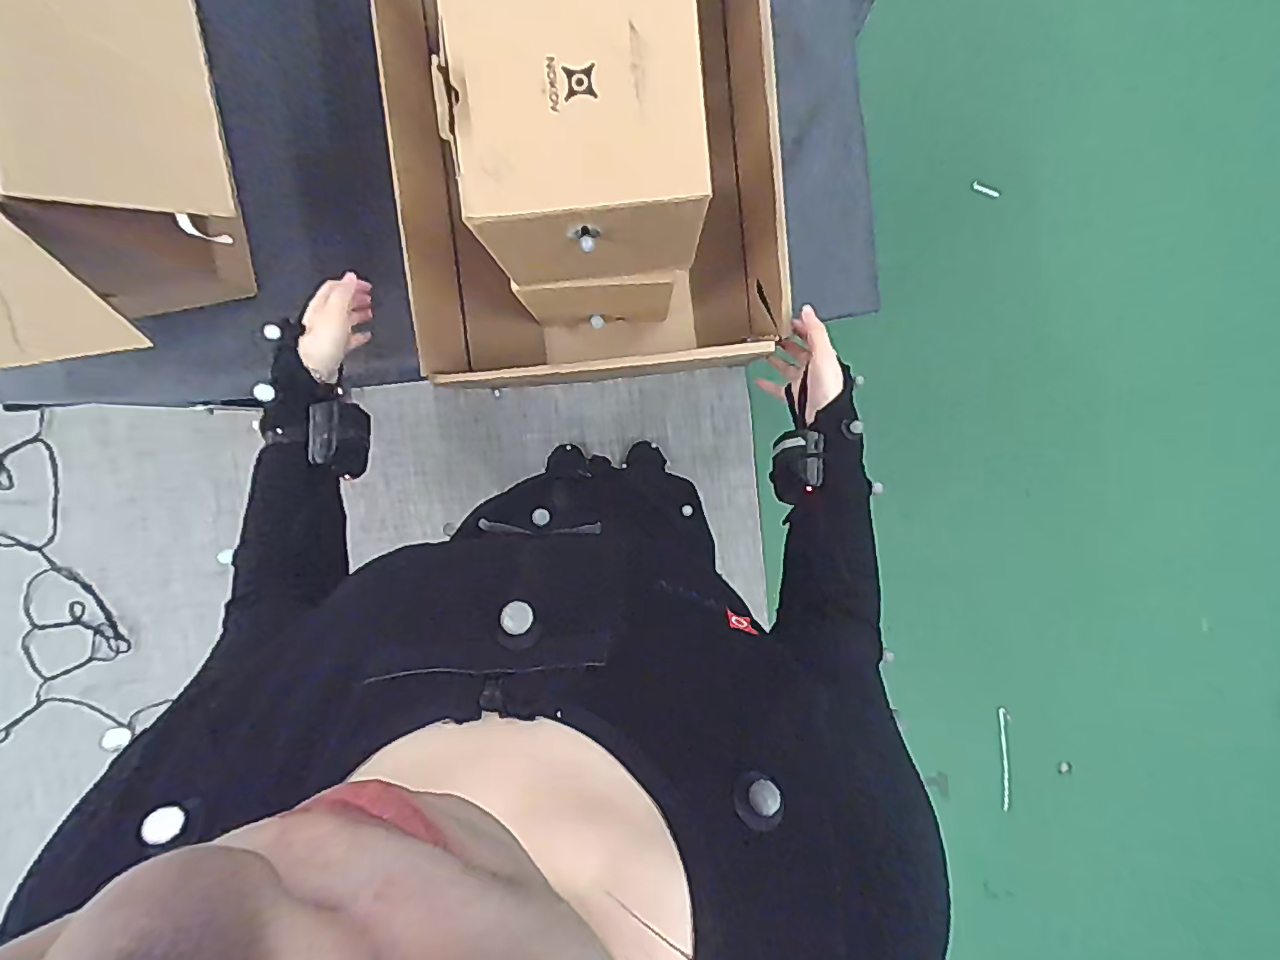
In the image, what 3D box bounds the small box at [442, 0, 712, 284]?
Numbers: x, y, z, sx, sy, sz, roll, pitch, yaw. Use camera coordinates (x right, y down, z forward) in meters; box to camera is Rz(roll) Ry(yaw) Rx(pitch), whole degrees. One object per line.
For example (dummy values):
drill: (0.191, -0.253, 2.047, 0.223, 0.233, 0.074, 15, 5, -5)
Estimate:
small box: (-0.042, -0.273, 0.450, 0.179, 0.176, 0.168, -6, 95, 0)
